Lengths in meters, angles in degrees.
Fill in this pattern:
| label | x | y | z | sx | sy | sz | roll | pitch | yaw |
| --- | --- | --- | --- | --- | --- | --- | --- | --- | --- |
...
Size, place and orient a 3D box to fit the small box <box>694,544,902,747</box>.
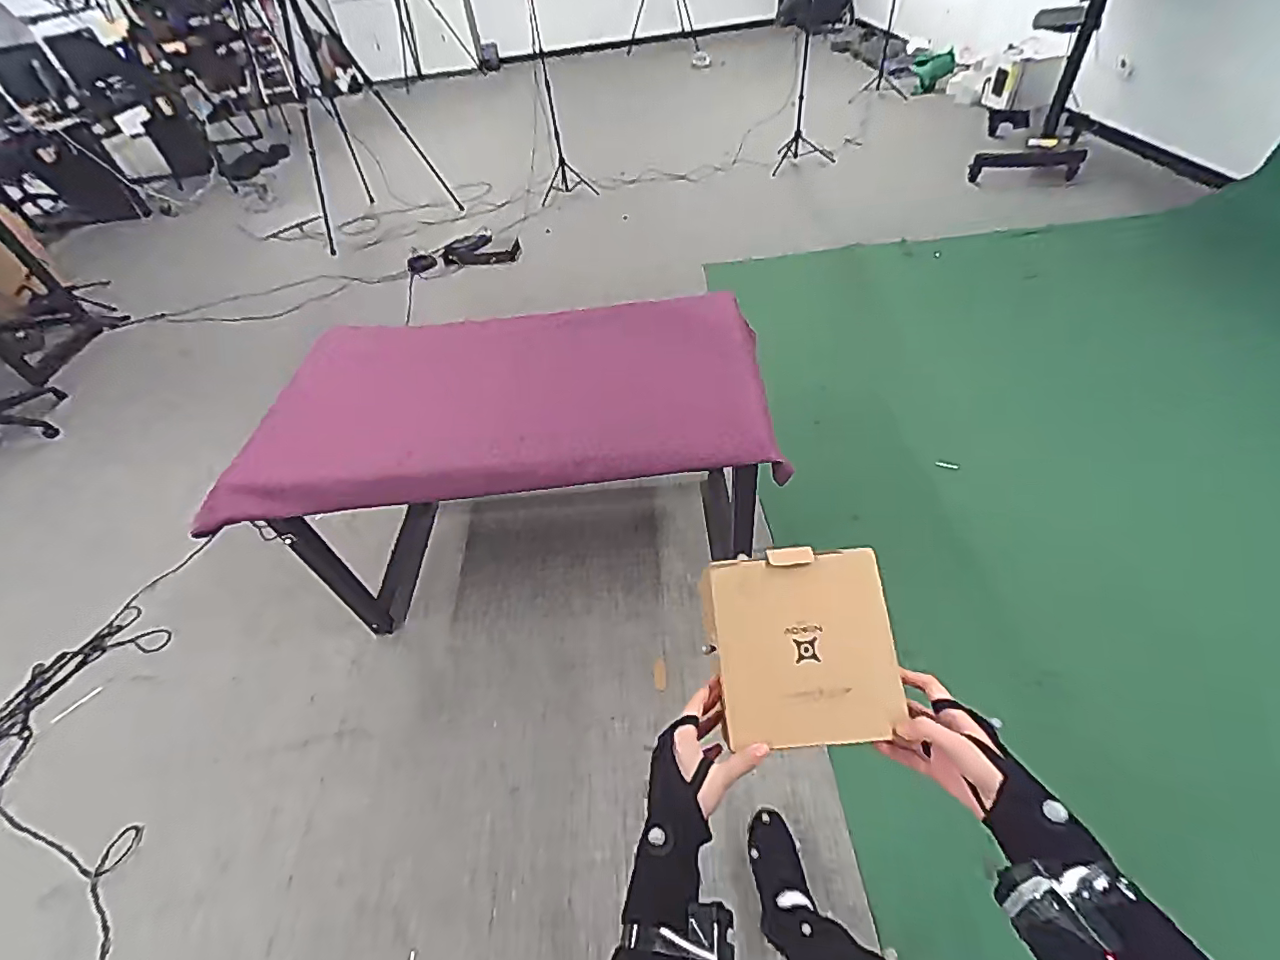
| label | x | y | z | sx | sy | sz | roll | pitch | yaw |
| --- | --- | --- | --- | --- | --- | --- | --- | --- | --- |
| small box | 0.150 | 0.174 | 0.583 | 0.168 | 0.176 | 0.179 | -5 | 74 | 2 |
